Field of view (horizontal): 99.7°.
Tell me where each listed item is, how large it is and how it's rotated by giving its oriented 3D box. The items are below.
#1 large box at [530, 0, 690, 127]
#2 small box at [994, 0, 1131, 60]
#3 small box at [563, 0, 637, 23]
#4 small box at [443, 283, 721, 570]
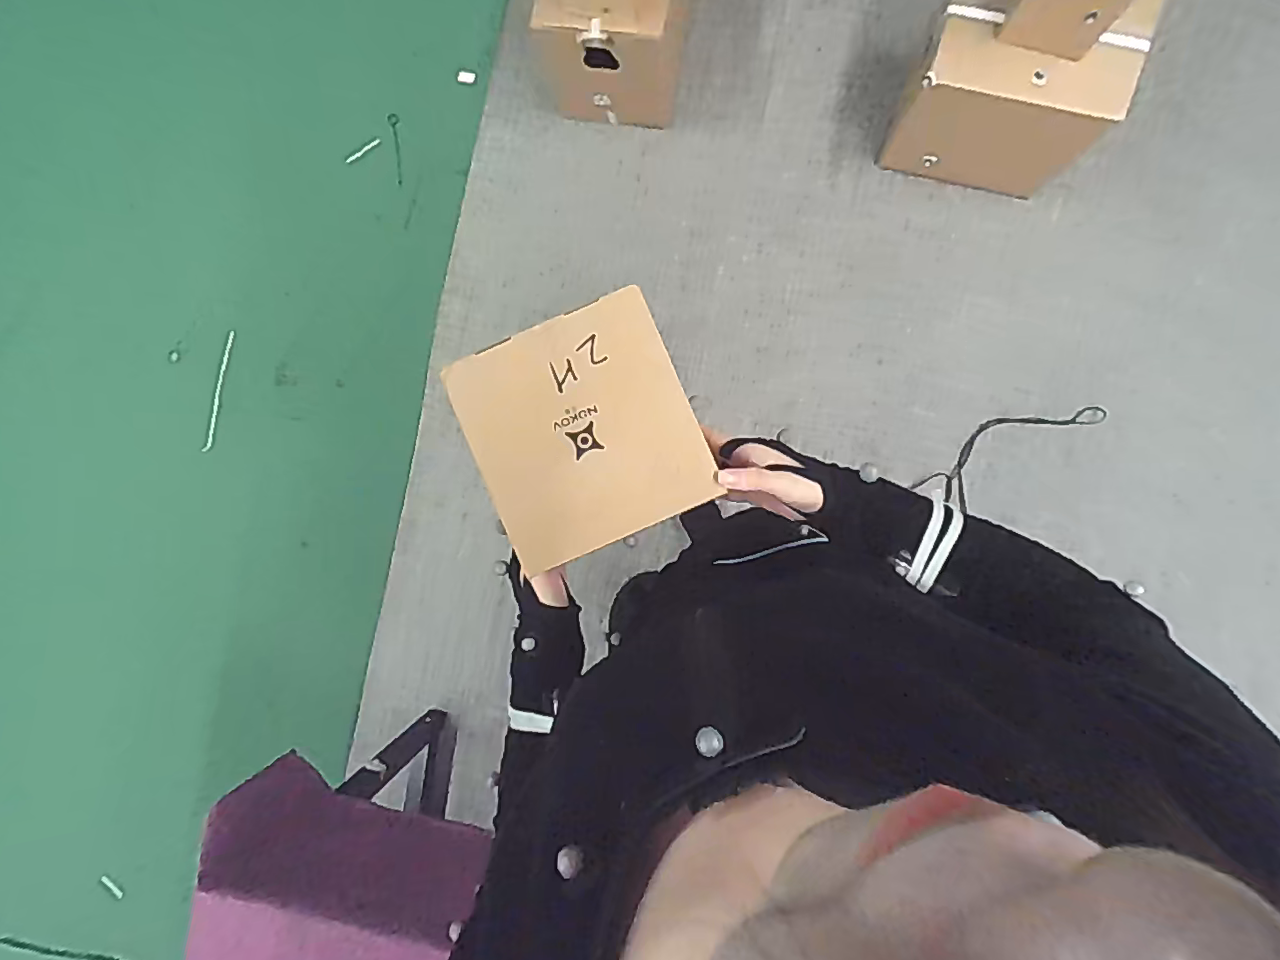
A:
[{"bbox_3d":[-0.056,-1.201,1.380,0.320,0.320,0.408,11,89,6],"label":"large box"},{"bbox_3d":[0.834,-0.961,1.038,0.179,0.176,0.168,20,89,6],"label":"small box"},{"bbox_3d":[-0.084,-1.117,1.135,0.168,0.176,0.179,14,89,5],"label":"small box"},{"bbox_3d":[-0.042,-0.040,0.486,0.168,0.176,0.179,-22,89,0],"label":"small box"}]
